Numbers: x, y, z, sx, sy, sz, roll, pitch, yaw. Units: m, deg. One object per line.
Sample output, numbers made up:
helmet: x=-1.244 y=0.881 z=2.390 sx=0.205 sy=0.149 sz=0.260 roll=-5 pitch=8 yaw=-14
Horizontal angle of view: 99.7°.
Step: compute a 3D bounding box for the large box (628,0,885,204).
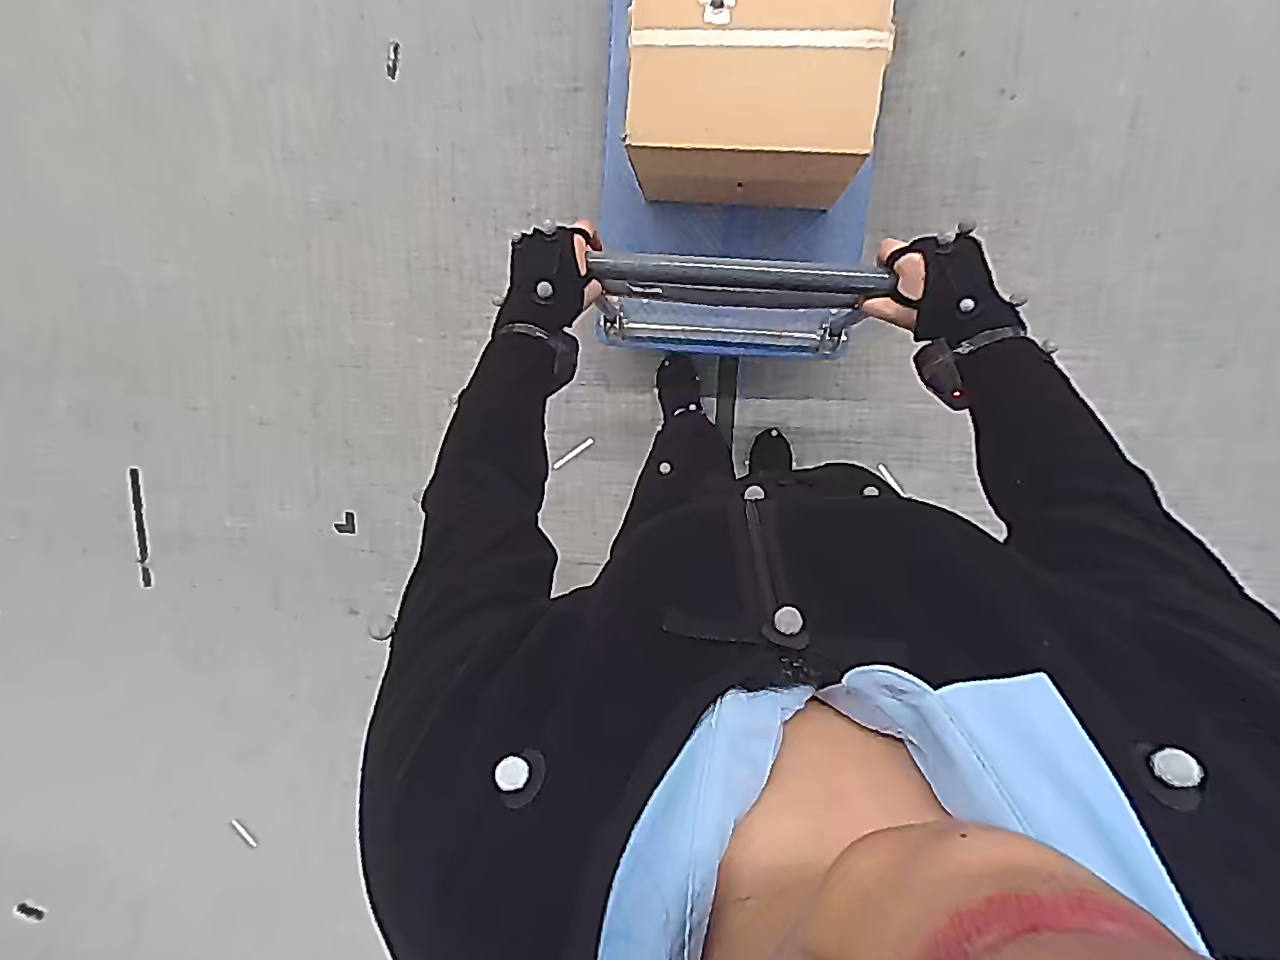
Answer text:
large box: x=0.207 y=-0.732 z=1.025 sx=0.408 sy=0.320 sz=0.320 roll=6 pitch=101 yaw=7
